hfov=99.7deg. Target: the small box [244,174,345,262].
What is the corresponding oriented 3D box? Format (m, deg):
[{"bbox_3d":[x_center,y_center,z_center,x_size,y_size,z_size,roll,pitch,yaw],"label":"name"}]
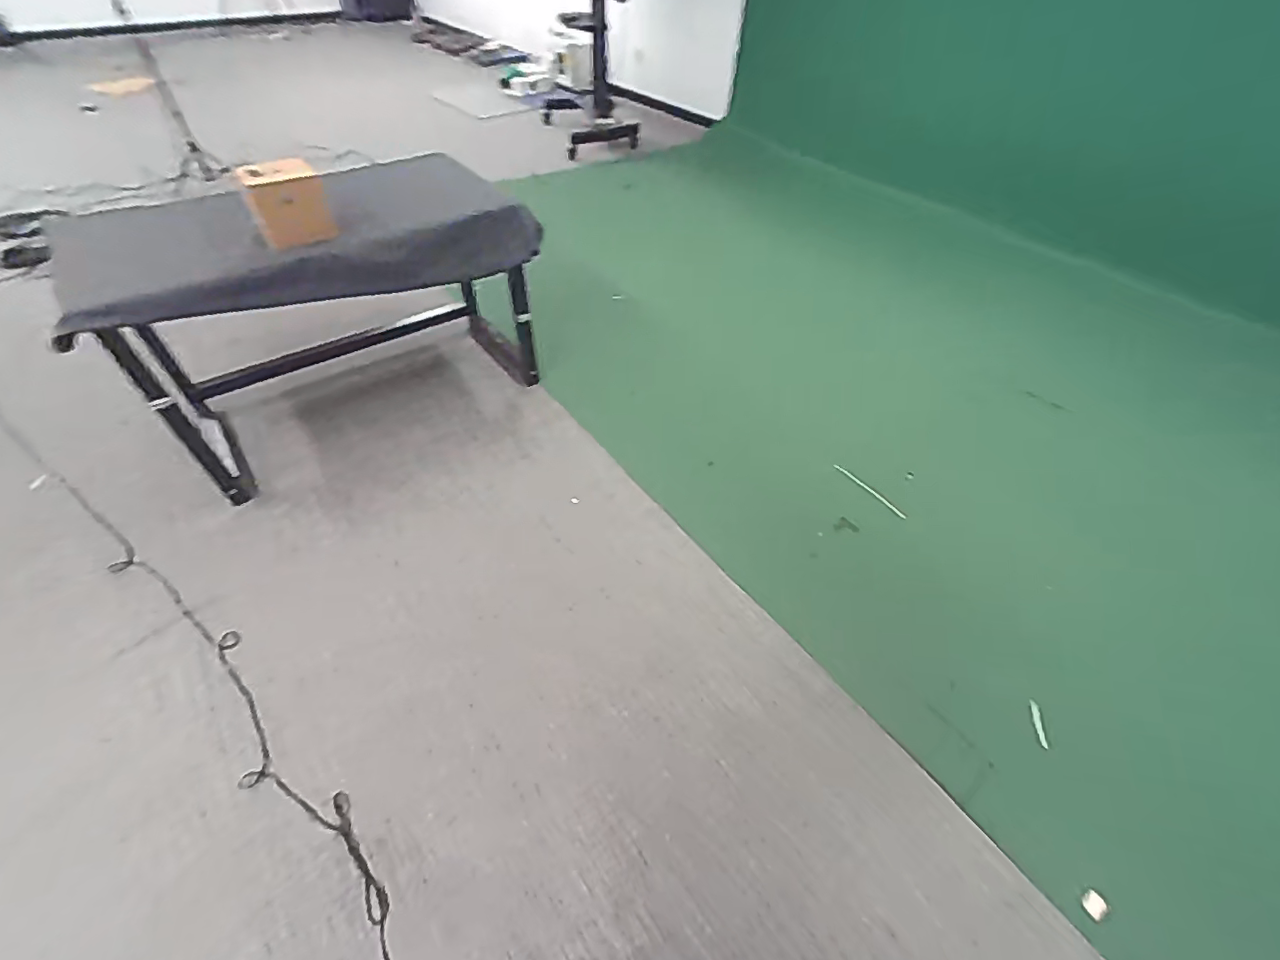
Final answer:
[{"bbox_3d":[-0.978,-0.744,1.539,0.179,0.176,0.168,-28,54,-25],"label":"small box"}]
